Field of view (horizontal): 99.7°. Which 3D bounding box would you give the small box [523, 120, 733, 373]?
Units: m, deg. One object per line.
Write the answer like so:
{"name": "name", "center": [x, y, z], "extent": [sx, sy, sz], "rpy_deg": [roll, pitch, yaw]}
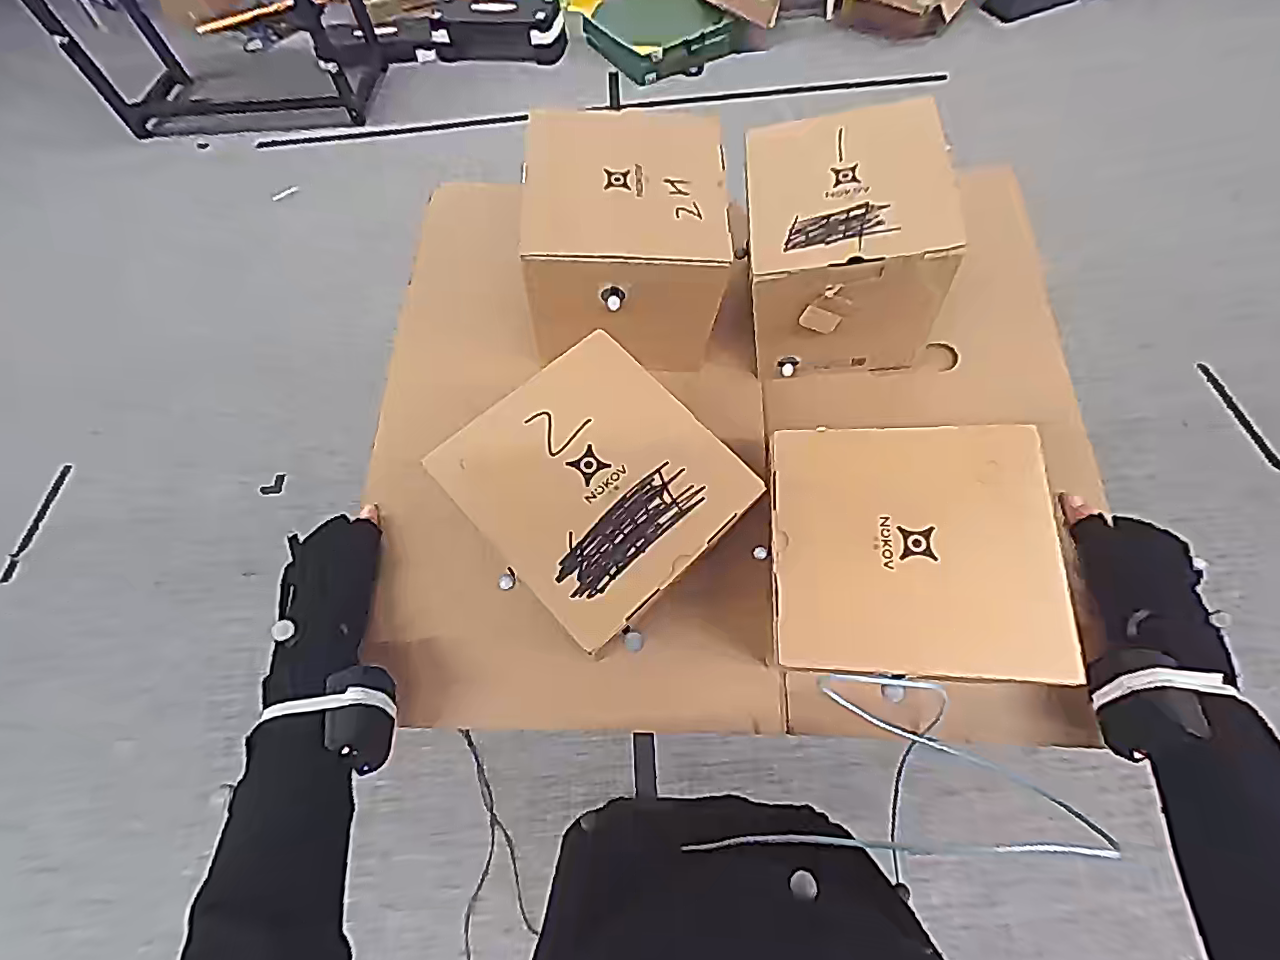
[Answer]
{"name": "small box", "center": [-0.014, -0.222, 0.544], "extent": [0.179, 0.176, 0.168], "rpy_deg": [1, 70, -4]}
